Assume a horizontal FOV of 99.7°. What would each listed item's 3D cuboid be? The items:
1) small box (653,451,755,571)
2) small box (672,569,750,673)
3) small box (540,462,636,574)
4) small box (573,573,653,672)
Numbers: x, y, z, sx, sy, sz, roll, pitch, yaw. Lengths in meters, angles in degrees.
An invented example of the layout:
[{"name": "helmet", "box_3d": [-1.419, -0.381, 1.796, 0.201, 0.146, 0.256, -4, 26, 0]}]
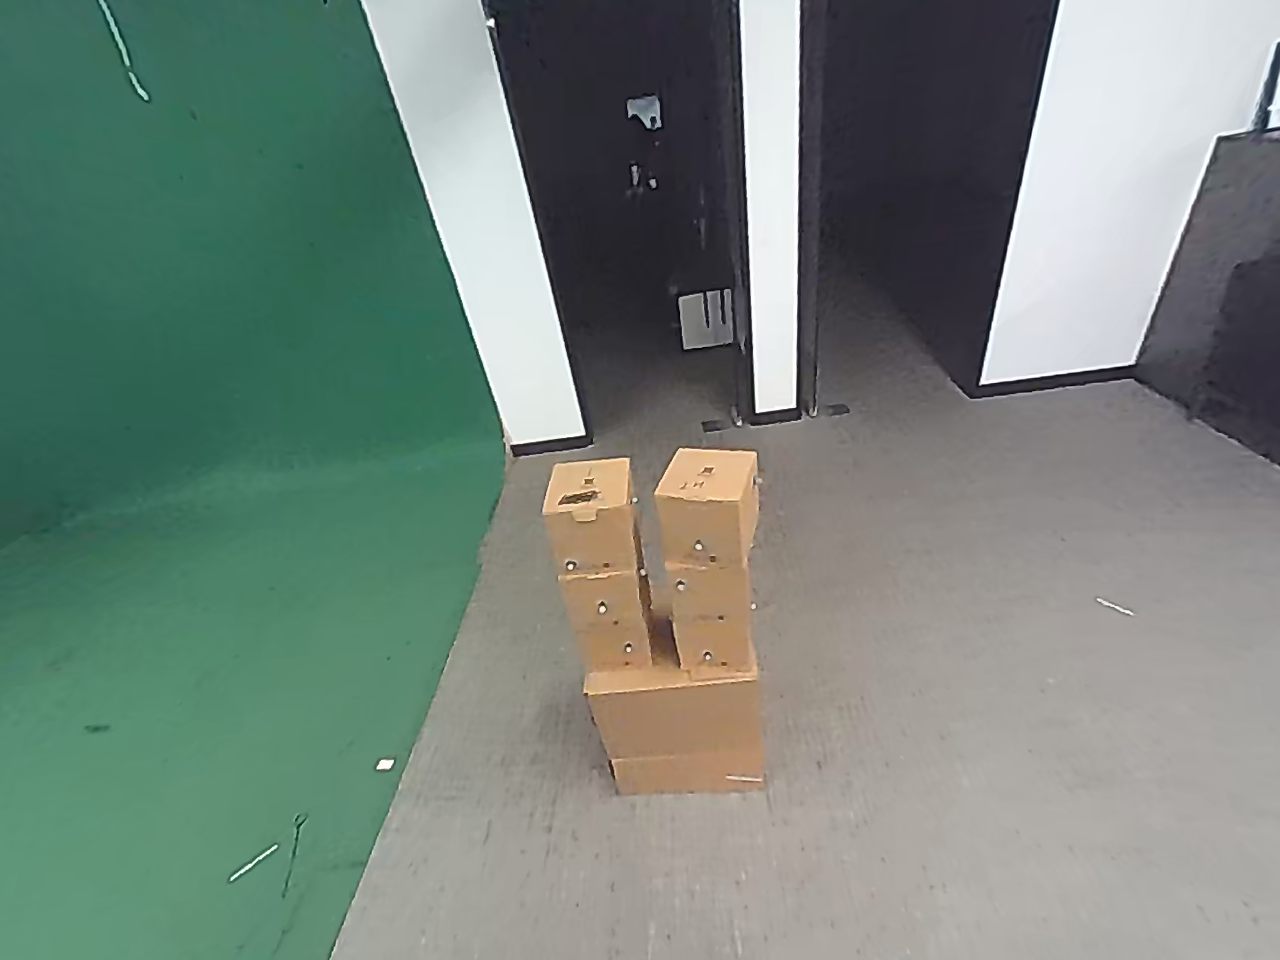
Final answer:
[{"name": "small box", "box_3d": [0.138, 0.059, 1.102, 0.168, 0.176, 0.179, 3, 36, 22]}, {"name": "small box", "box_3d": [0.173, 0.332, 1.283, 0.168, 0.176, 0.179, -4, 34, 12]}, {"name": "small box", "box_3d": [-0.100, 0.084, 1.136, 0.168, 0.176, 0.179, -5, 33, 4]}, {"name": "small box", "box_3d": [-0.058, 0.352, 1.322, 0.168, 0.176, 0.179, -4, 34, 6]}]
